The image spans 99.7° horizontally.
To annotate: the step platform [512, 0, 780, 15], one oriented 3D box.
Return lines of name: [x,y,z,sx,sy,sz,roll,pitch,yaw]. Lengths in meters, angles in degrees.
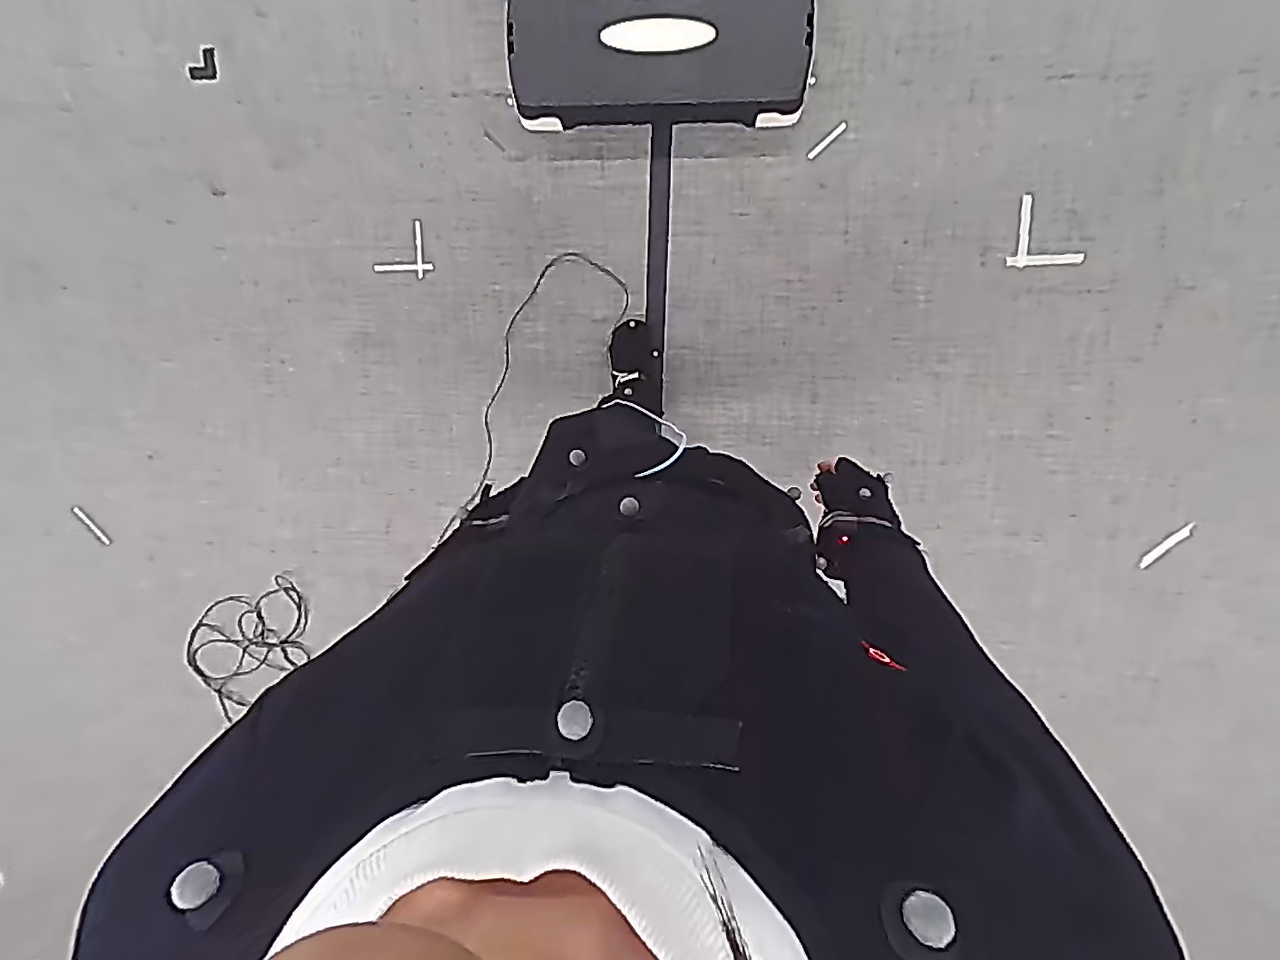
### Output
step platform: [0.020,-1.207,1.129,0.684,0.204,0.286,0,100,3]
